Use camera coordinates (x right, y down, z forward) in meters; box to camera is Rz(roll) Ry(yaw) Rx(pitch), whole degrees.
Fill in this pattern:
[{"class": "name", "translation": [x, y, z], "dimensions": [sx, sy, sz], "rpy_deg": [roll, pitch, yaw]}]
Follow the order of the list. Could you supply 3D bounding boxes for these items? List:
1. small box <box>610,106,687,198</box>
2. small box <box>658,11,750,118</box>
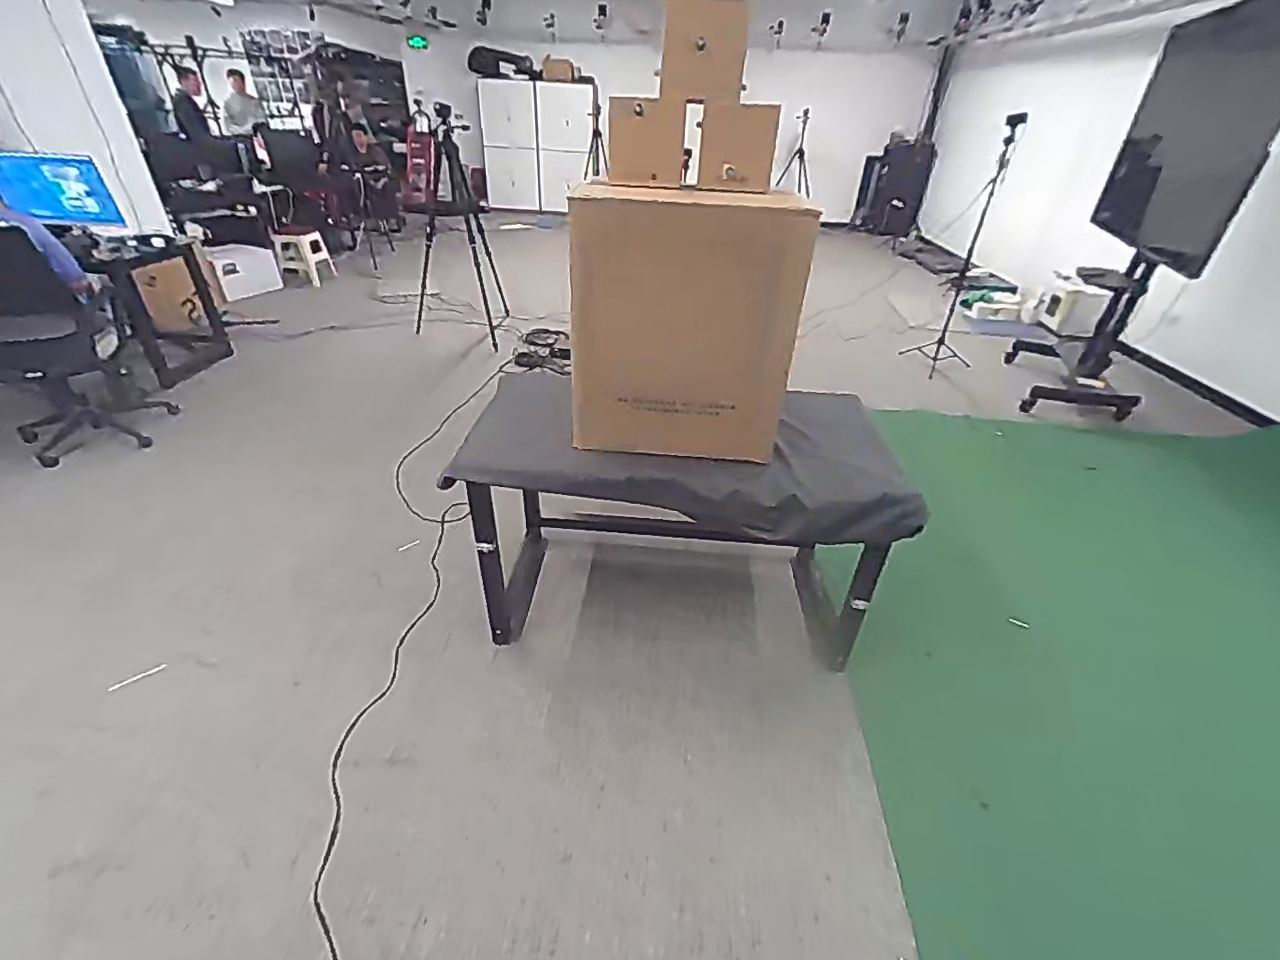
[{"class": "small box", "translation": [0.021, -0.765, 1.266], "dimensions": [0.168, 0.176, 0.179], "rpy_deg": [4, 31, 4]}, {"class": "small box", "translation": [0.135, -0.902, 1.188], "dimensions": [0.179, 0.176, 0.168], "rpy_deg": [4, 31, 2]}]
